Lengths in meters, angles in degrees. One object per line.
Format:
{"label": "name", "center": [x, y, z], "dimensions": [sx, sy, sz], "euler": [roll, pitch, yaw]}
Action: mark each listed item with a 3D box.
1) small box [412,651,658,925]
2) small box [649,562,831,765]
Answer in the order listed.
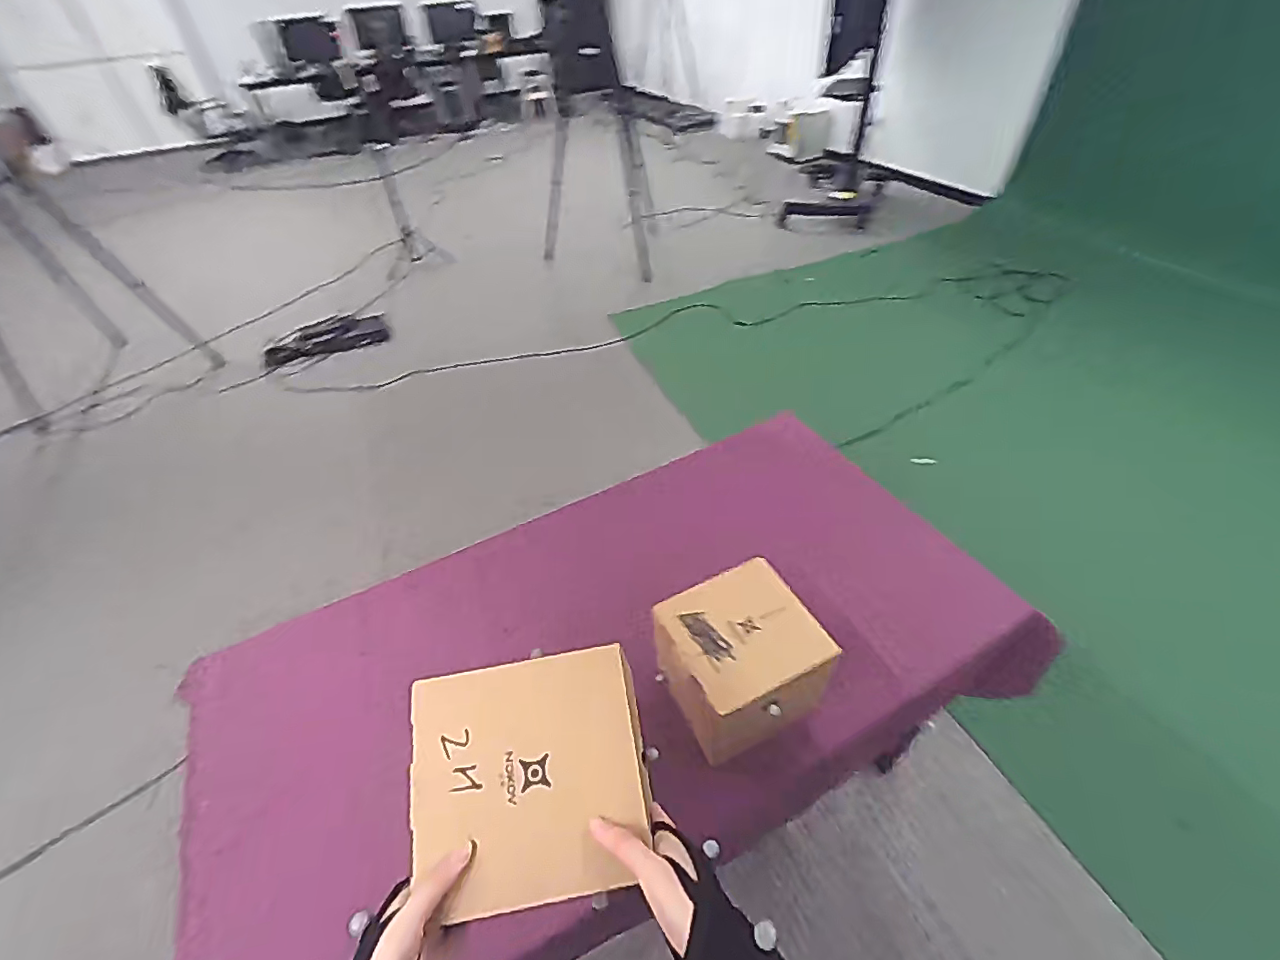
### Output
{"label": "small box", "center": [-0.081, 0.259, 0.484], "dimensions": [0.179, 0.176, 0.168], "euler": [-9, 63, -1]}
{"label": "small box", "center": [0.128, 0.251, 0.737], "dimensions": [0.179, 0.176, 0.168], "euler": [-21, 46, -17]}
